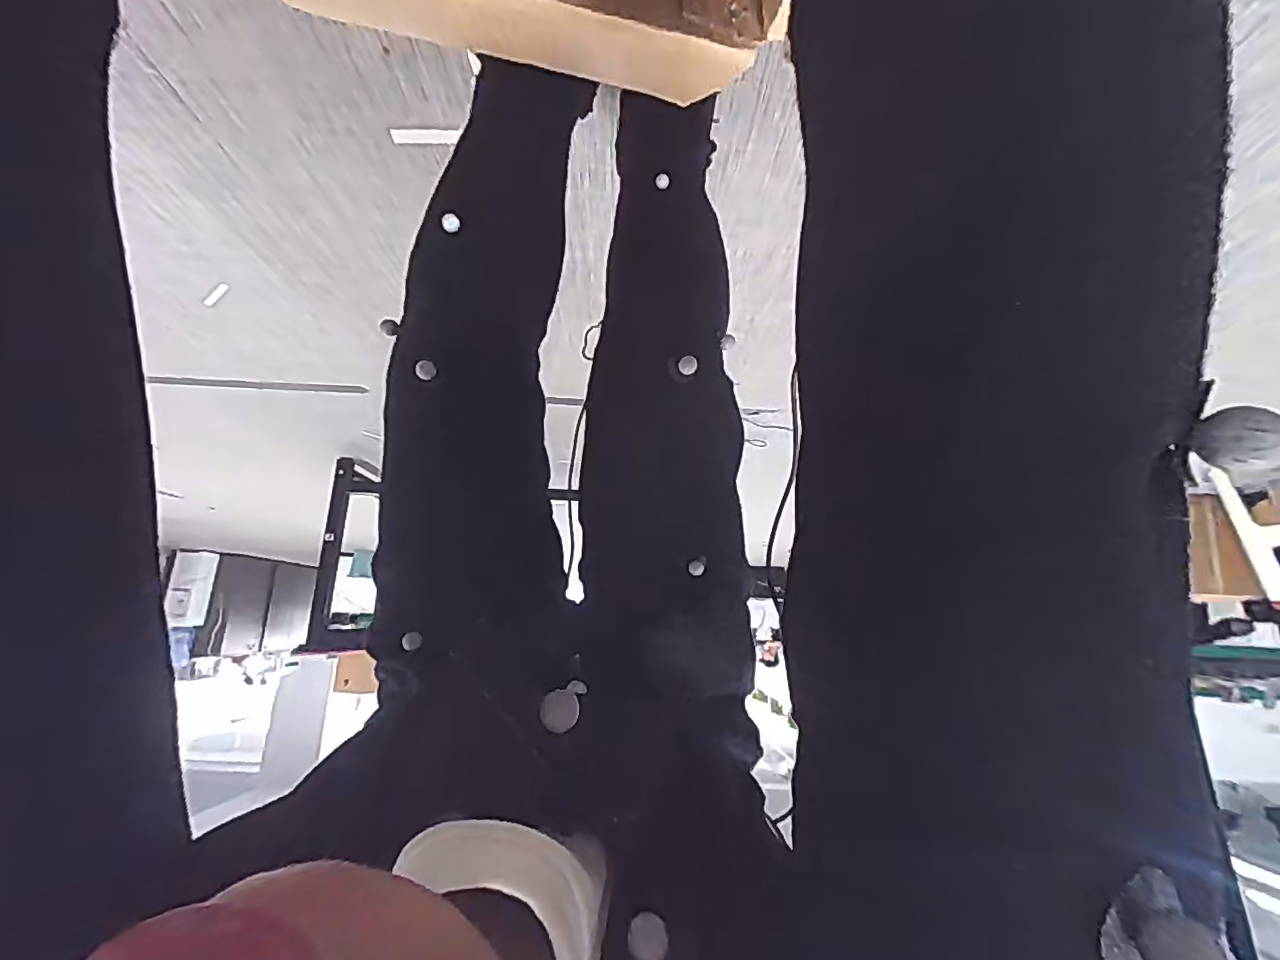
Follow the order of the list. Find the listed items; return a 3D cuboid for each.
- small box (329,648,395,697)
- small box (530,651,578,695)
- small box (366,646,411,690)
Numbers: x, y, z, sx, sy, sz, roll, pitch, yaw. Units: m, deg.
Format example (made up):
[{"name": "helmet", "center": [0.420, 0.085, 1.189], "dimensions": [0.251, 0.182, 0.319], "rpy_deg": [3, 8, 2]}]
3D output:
[{"name": "small box", "center": [-1.095, 0.759, 2.144], "dimensions": [0.179, 0.176, 0.168], "rpy_deg": [2, 167, -4]}, {"name": "small box", "center": [-0.376, 0.843, 2.379], "dimensions": [0.179, 0.176, 0.168], "rpy_deg": [1, 165, 2]}, {"name": "small box", "center": [-1.103, 0.811, 2.337], "dimensions": [0.179, 0.176, 0.168], "rpy_deg": [5, 163, -7]}]
